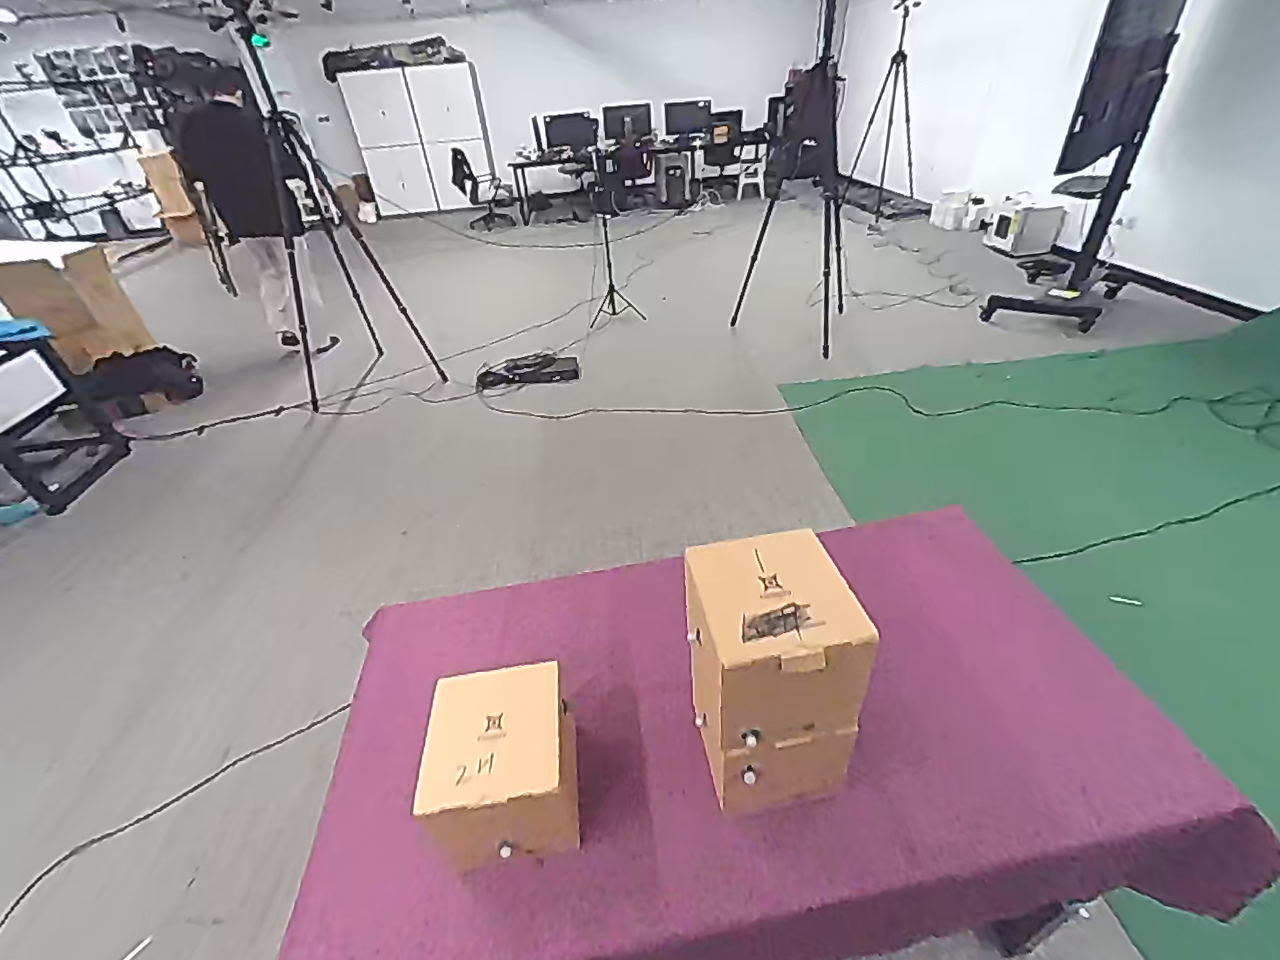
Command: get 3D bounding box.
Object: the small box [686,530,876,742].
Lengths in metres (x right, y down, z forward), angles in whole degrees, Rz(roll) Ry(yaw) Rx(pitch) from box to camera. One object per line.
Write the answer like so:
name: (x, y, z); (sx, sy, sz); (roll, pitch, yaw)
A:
small box: (0.156, 0.190, 0.650); (0.168, 0.176, 0.179); (-9, 34, -4)

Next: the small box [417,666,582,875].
small box: (-0.172, 0.380, 0.716); (0.168, 0.176, 0.179); (-9, 36, -3)
